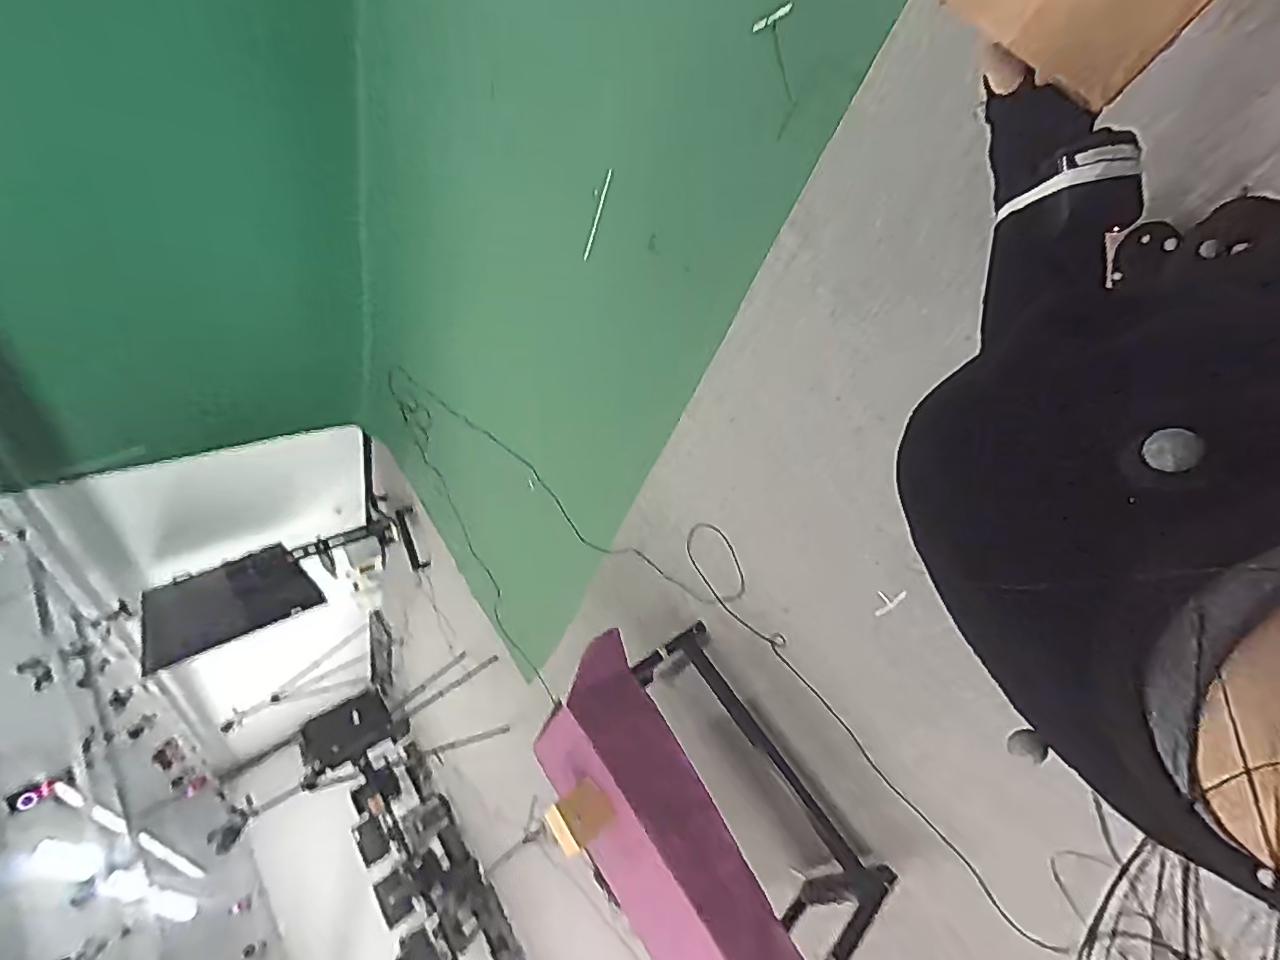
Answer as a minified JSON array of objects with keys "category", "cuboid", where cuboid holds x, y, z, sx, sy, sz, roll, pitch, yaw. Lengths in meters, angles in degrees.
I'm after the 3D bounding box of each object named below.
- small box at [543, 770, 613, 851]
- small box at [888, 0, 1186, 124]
[{"category":"small box","cuboid":[-0.224,1.201,1.967,0.179,0.176,0.168,52,138,21]},{"category":"small box","cuboid":[0.221,-0.329,0.265,0.168,0.179,0.176,29,143,-4]}]
